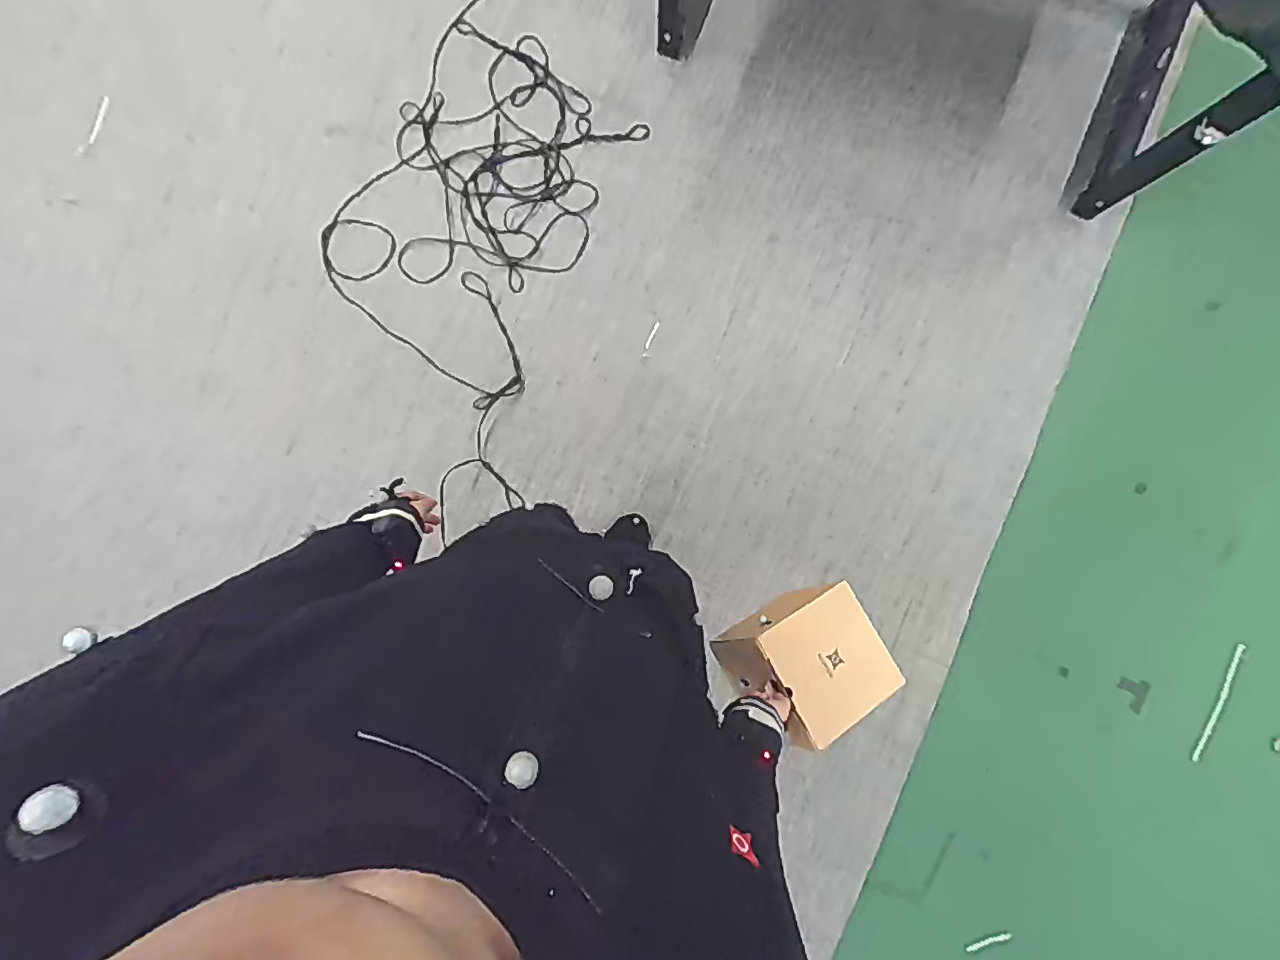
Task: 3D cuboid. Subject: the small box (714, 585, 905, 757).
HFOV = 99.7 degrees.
[{"bbox_3d":[0.242,0.276,0.808,0.179,0.176,0.168,-25,81,-22],"label":"small box"}]
